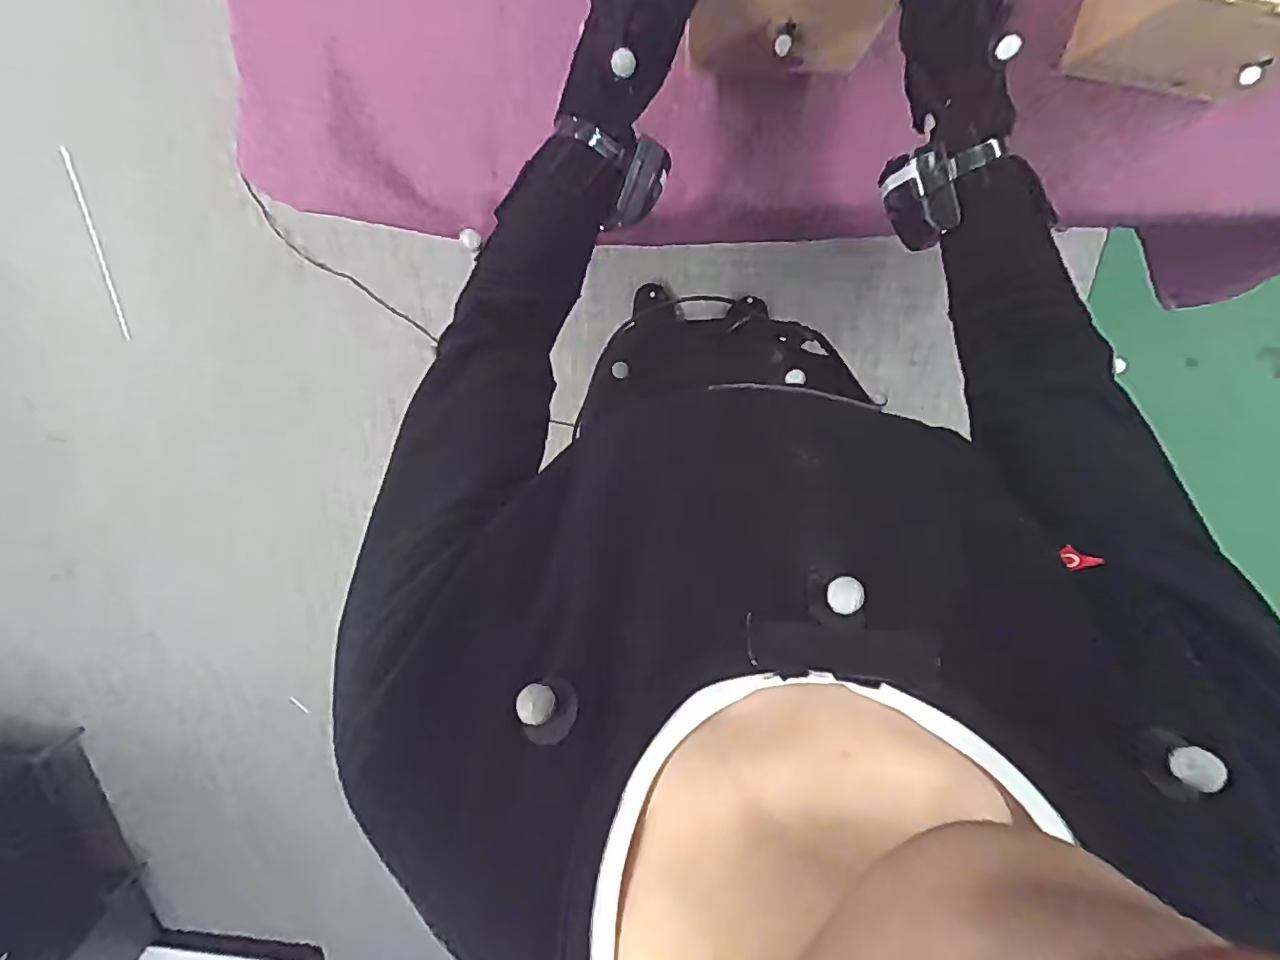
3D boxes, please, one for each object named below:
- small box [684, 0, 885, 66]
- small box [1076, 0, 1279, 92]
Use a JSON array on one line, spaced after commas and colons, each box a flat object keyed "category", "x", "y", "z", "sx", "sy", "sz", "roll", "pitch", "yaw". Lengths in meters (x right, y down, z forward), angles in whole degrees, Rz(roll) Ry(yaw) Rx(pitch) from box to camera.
[{"category": "small box", "x": 0.120, "y": -0.464, "z": 0.434, "sx": 0.168, "sy": 0.176, "sz": 0.179, "roll": 0, "pitch": 105, "yaw": 3}, {"category": "small box", "x": 0.507, "y": -0.446, "z": 0.432, "sx": 0.168, "sy": 0.176, "sz": 0.179, "roll": 13, "pitch": 111, "yaw": 1}]
